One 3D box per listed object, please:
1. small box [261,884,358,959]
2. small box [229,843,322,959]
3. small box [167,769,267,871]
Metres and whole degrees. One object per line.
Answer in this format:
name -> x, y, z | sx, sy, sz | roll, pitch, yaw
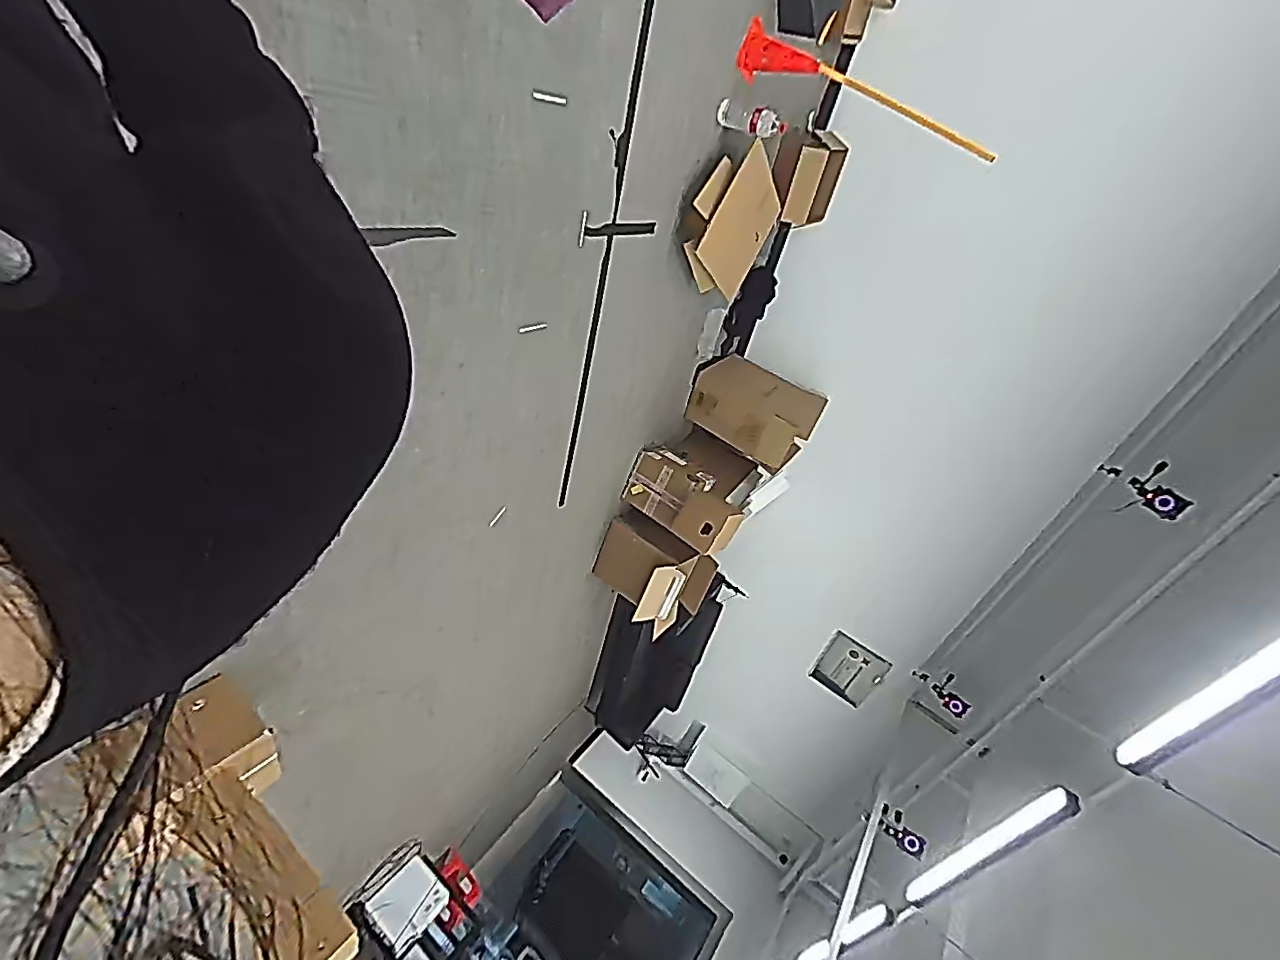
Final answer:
small box -> -0.909, 1.278, 1.485 | 0.179, 0.176, 0.168 | -31, 145, -50
small box -> -1.036, 1.198, 1.543 | 0.179, 0.176, 0.168 | -31, 146, -50
small box -> -1.297, 1.035, 1.661 | 0.179, 0.176, 0.168 | -33, 146, -46
